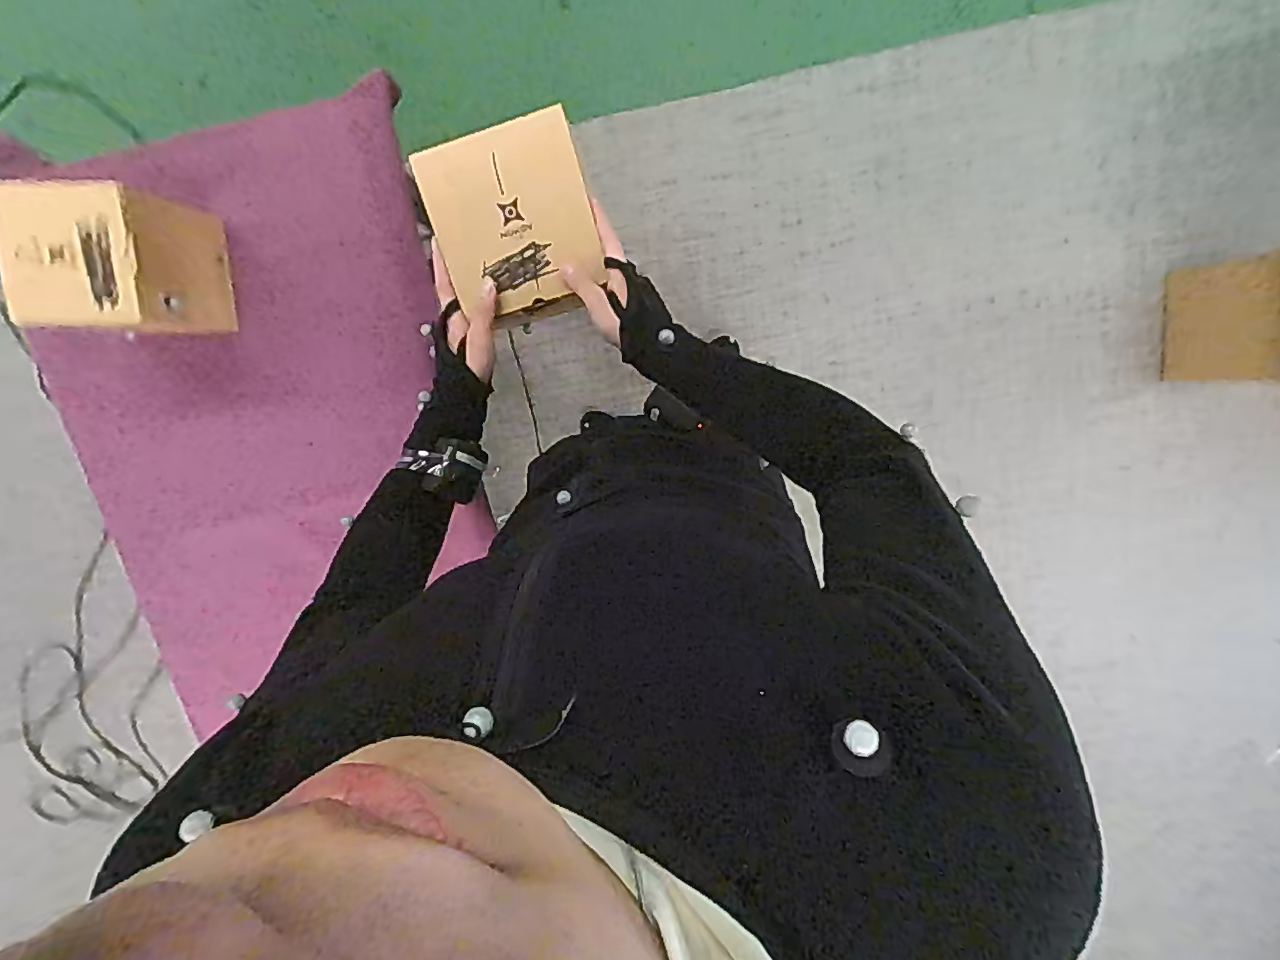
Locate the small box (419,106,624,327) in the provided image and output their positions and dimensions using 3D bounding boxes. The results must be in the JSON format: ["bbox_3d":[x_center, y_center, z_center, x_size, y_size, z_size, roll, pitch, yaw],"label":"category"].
[{"bbox_3d":[-0.120,-0.286,0.632,0.168,0.176,0.179,-15,103,5],"label":"small box"}]
